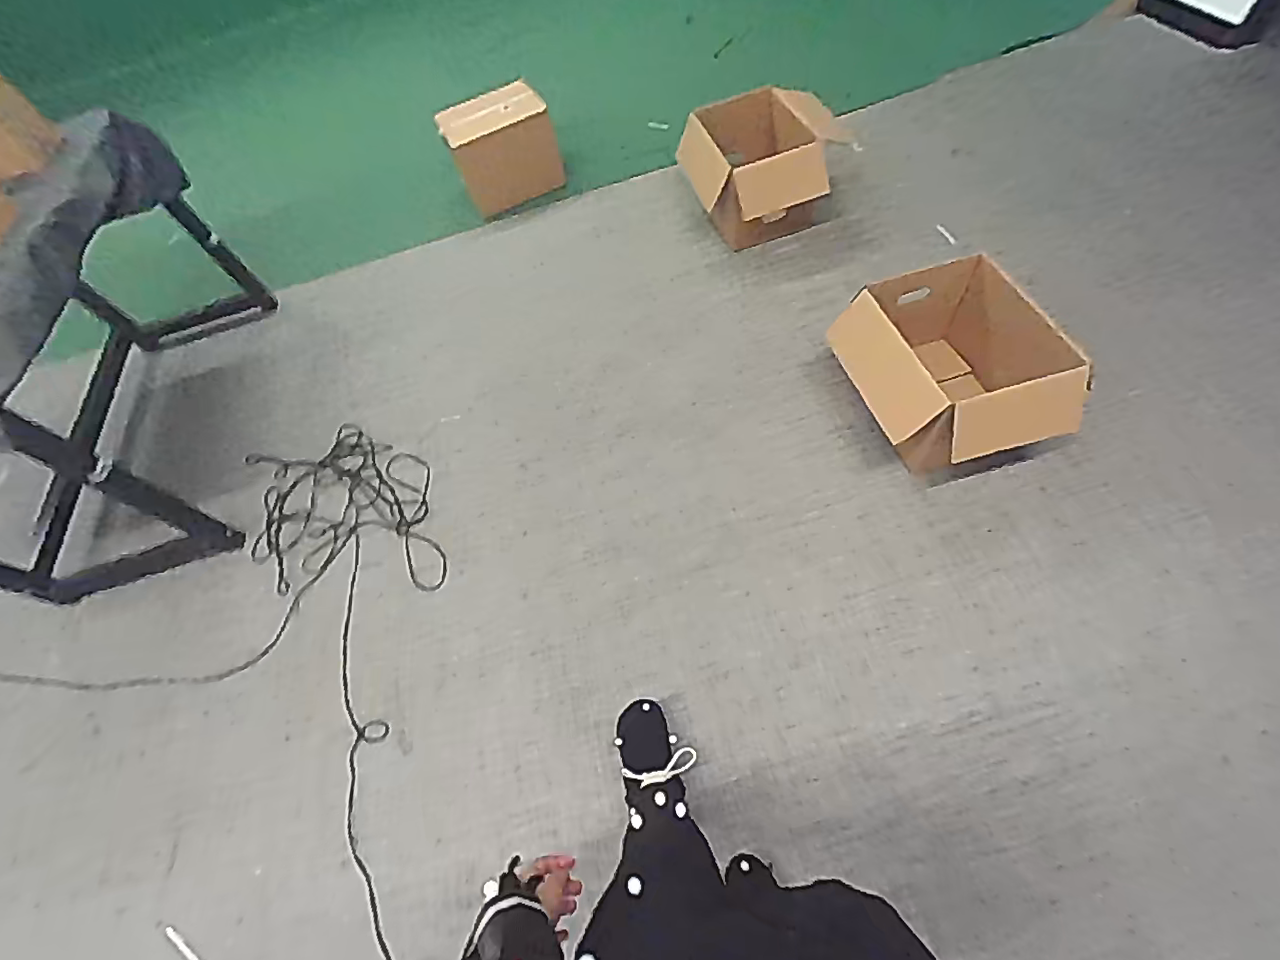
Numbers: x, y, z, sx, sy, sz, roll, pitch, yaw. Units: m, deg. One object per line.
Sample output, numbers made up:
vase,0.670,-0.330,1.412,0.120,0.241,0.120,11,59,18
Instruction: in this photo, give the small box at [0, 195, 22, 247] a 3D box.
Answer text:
small box,-1.627,-0.628,1.259,0.168,0.176,0.179,-18,57,0
